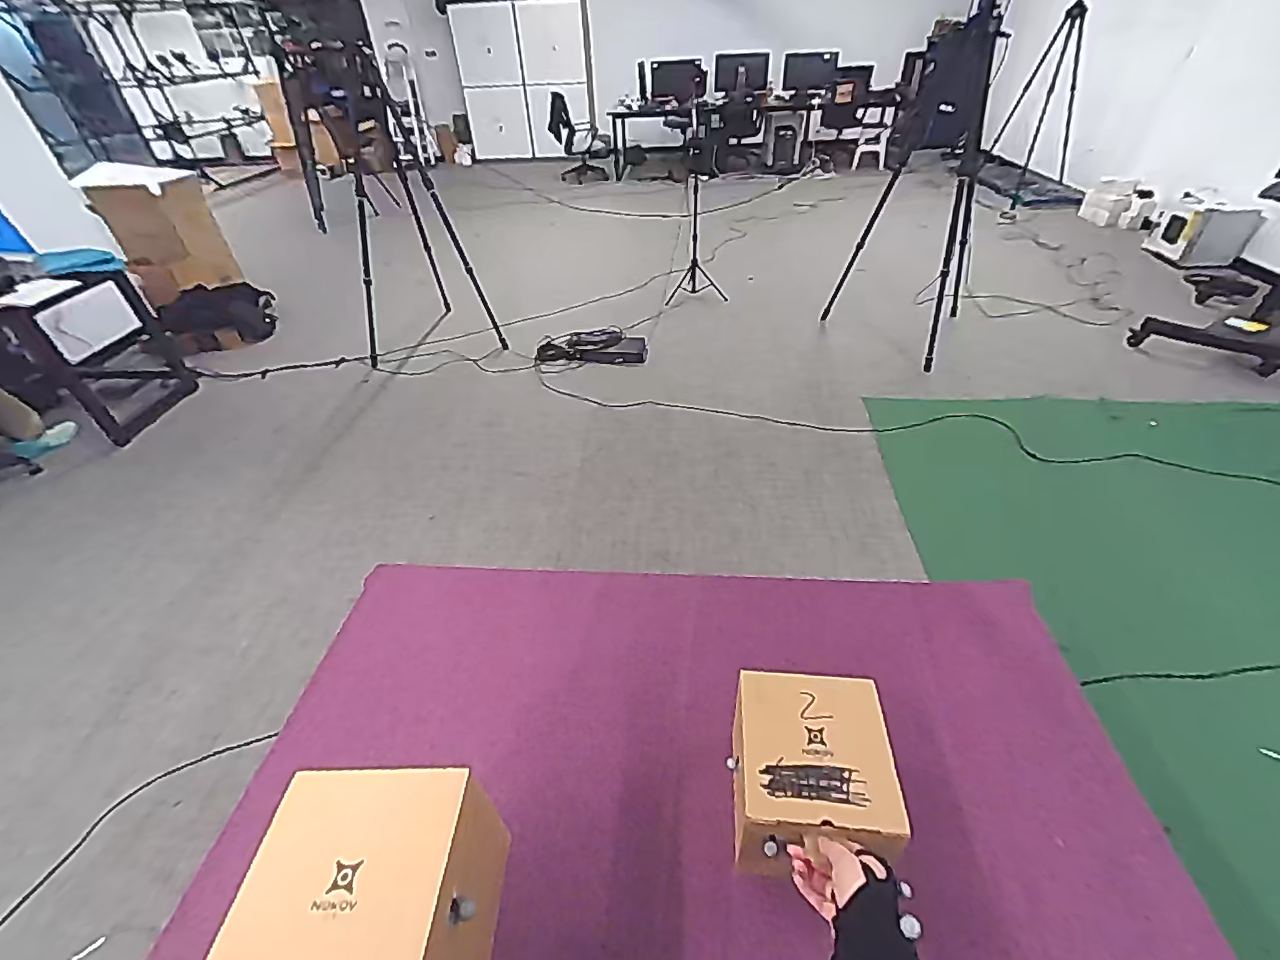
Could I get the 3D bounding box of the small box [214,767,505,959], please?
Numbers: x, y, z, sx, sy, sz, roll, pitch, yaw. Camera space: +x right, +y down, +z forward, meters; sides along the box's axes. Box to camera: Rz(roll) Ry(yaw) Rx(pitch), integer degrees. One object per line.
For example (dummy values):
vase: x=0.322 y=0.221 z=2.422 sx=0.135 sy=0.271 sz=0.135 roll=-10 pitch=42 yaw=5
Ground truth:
small box: x=-0.232 y=0.388 z=0.493 sx=0.168 sy=0.176 sz=0.179 roll=-3 pitch=40 yaw=3
